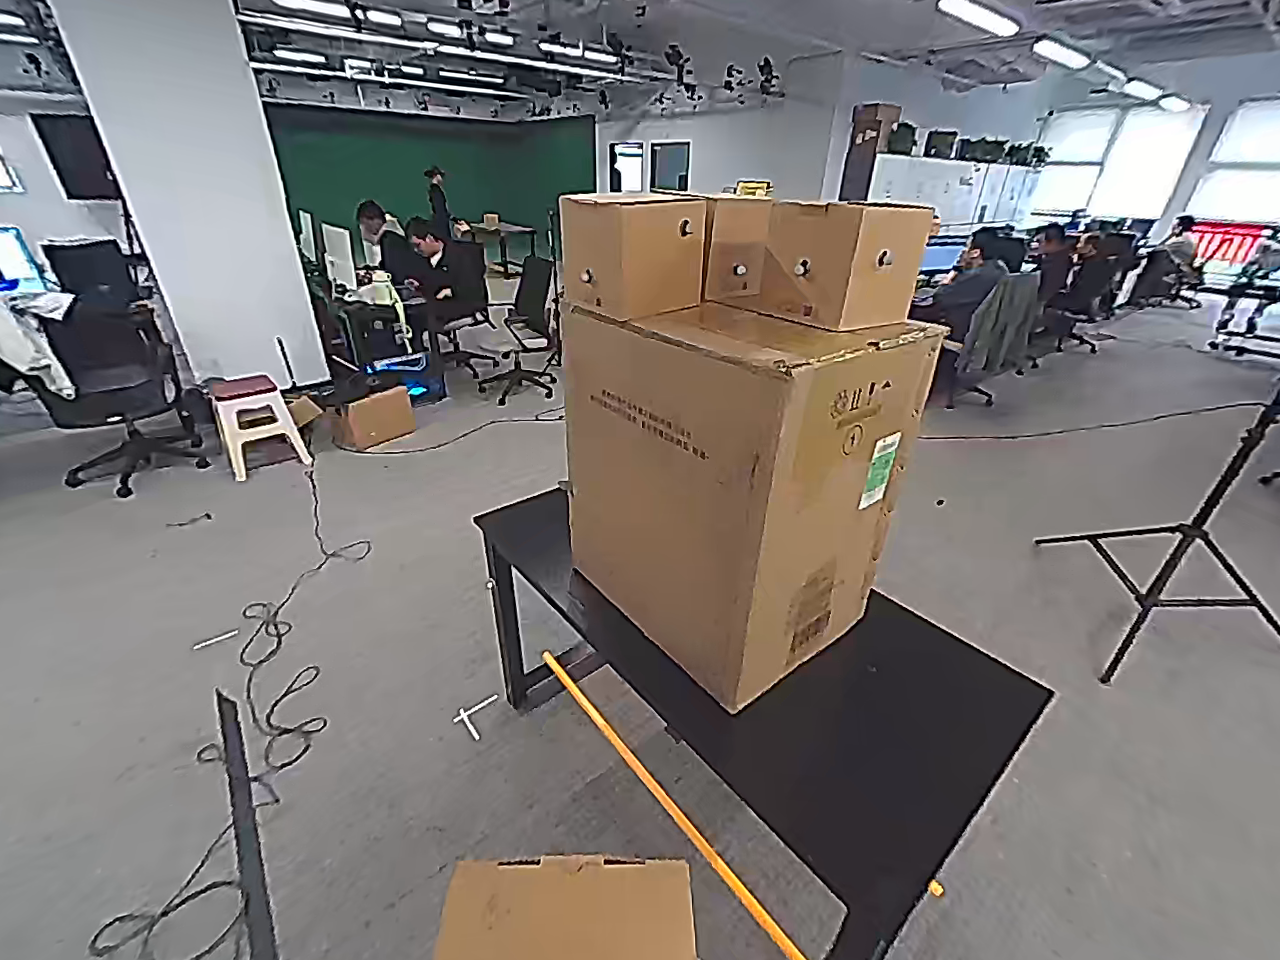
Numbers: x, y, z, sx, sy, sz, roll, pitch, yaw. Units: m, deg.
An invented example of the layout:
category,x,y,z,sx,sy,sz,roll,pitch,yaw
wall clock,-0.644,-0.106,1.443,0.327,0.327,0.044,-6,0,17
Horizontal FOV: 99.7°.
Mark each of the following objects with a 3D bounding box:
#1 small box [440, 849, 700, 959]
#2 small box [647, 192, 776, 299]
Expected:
category,x,y,z,sx,sy,sz,roll,pitch,yaw
small box,-0.048,0.379,0.363,0.168,0.176,0.179,2,38,-3
small box,0.125,-0.443,1.021,0.168,0.176,0.179,-20,37,-34
